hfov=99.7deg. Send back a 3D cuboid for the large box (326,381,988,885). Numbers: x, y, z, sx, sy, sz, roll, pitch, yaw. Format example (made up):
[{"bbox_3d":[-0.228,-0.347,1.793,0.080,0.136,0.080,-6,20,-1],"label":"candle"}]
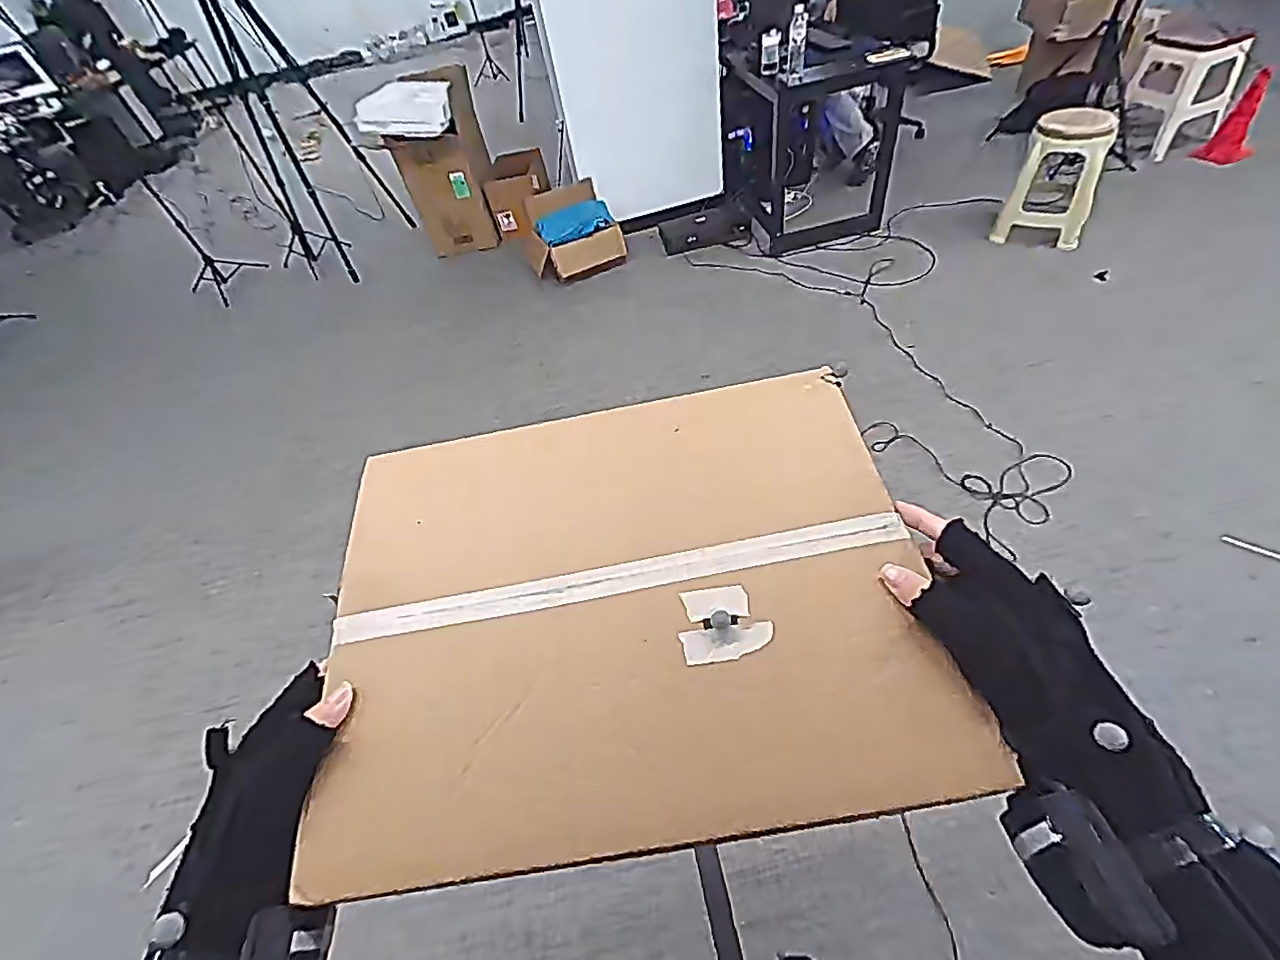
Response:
[{"bbox_3d":[0.004,0.156,0.519,0.408,0.320,0.320,-11,56,2],"label":"large box"}]
